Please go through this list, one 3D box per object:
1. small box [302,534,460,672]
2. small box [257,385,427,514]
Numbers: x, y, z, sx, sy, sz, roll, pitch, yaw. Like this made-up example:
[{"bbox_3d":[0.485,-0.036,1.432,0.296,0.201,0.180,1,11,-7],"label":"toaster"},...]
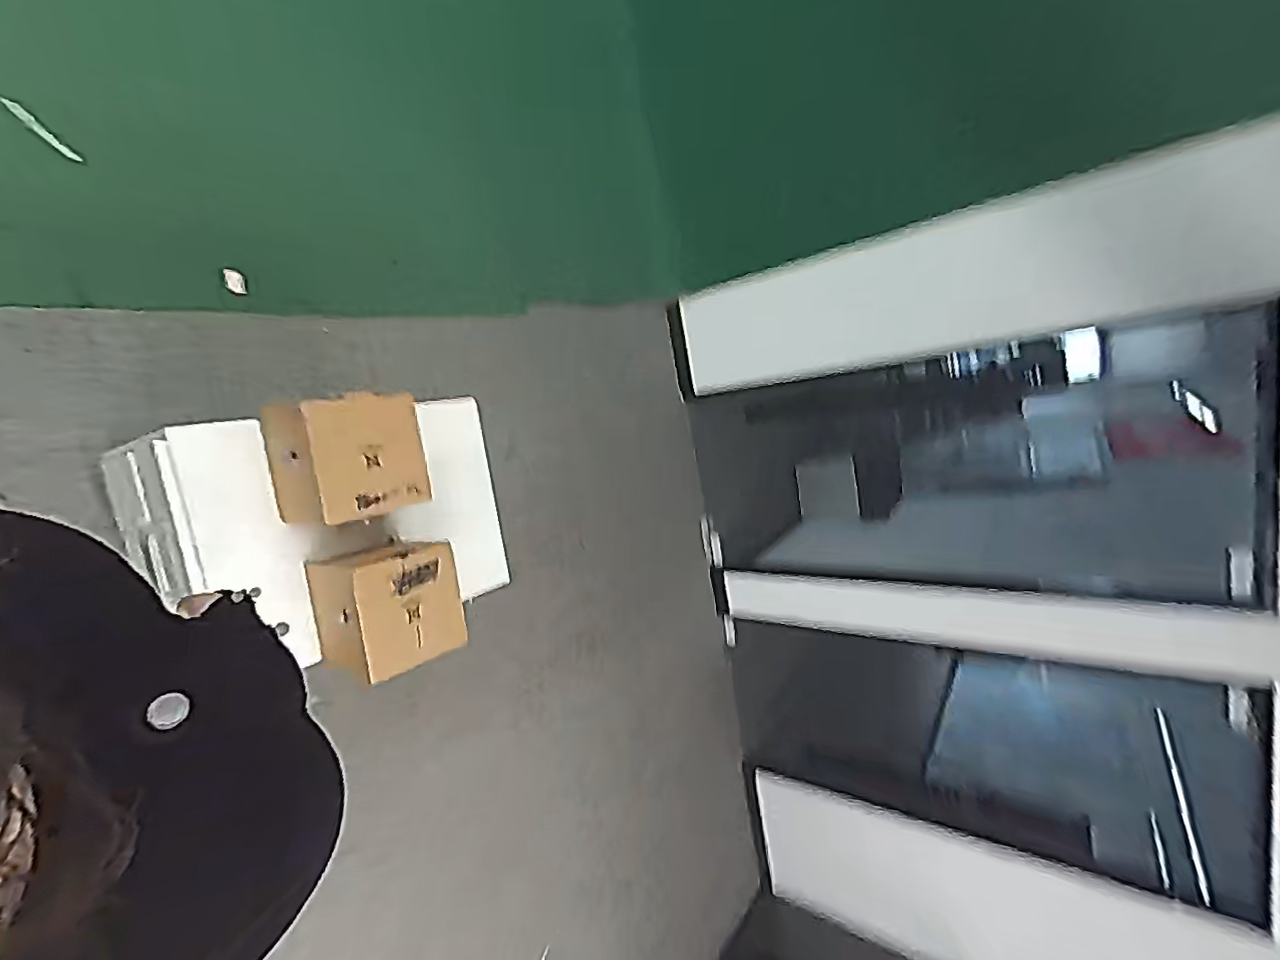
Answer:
[{"bbox_3d":[-0.426,0.189,0.888,0.168,0.176,0.179,-14,99,-51],"label":"small box"},{"bbox_3d":[-0.467,-0.048,0.847,0.168,0.176,0.179,-17,102,-51],"label":"small box"}]
